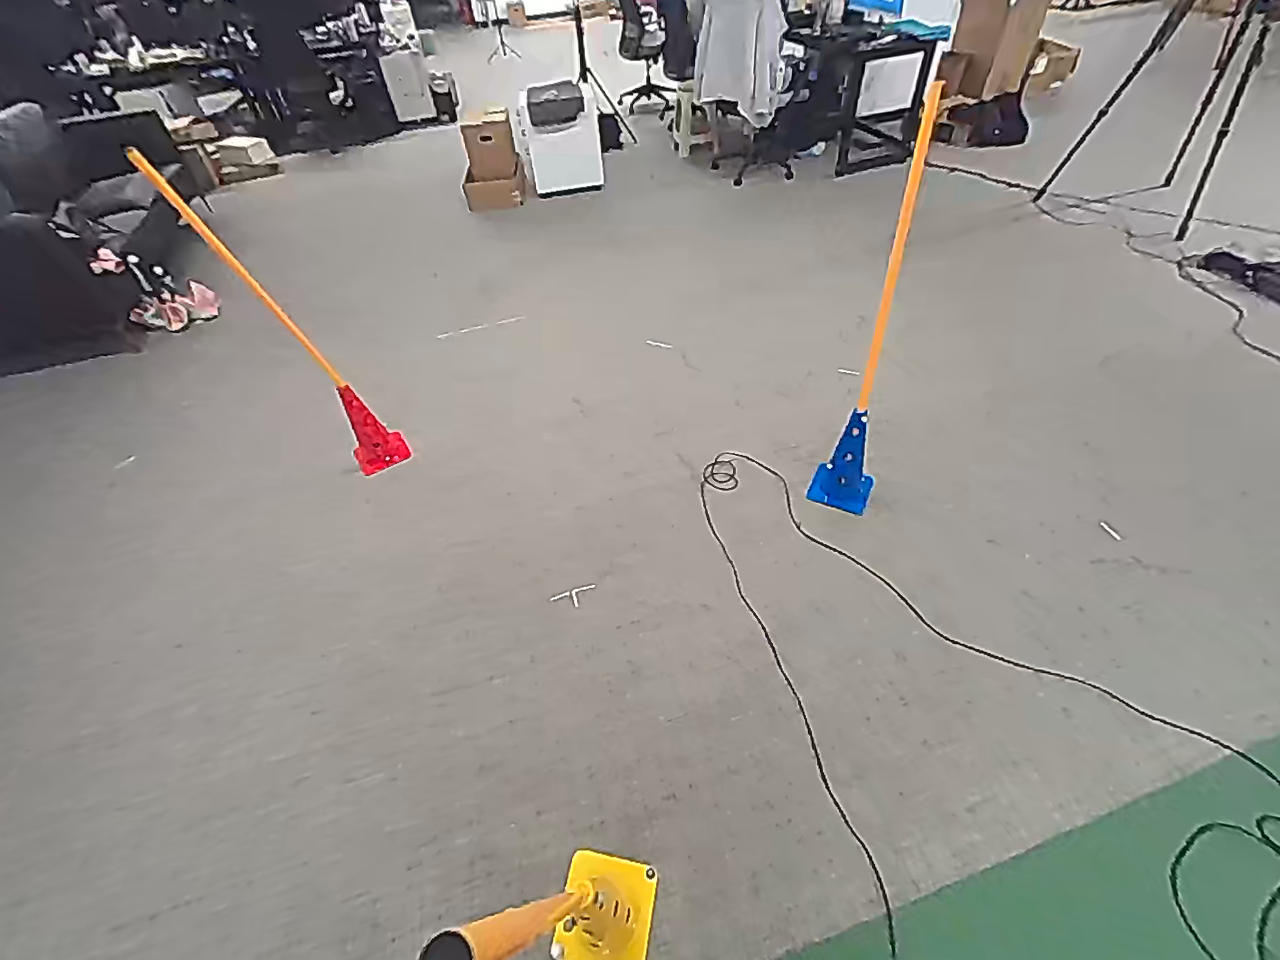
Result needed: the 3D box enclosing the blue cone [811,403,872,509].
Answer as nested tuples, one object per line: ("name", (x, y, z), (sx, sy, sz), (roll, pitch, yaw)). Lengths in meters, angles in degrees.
("blue cone", (0.710, -0.099, 1.822), (0.192, 0.380, 0.193), (17, 49, 22))
